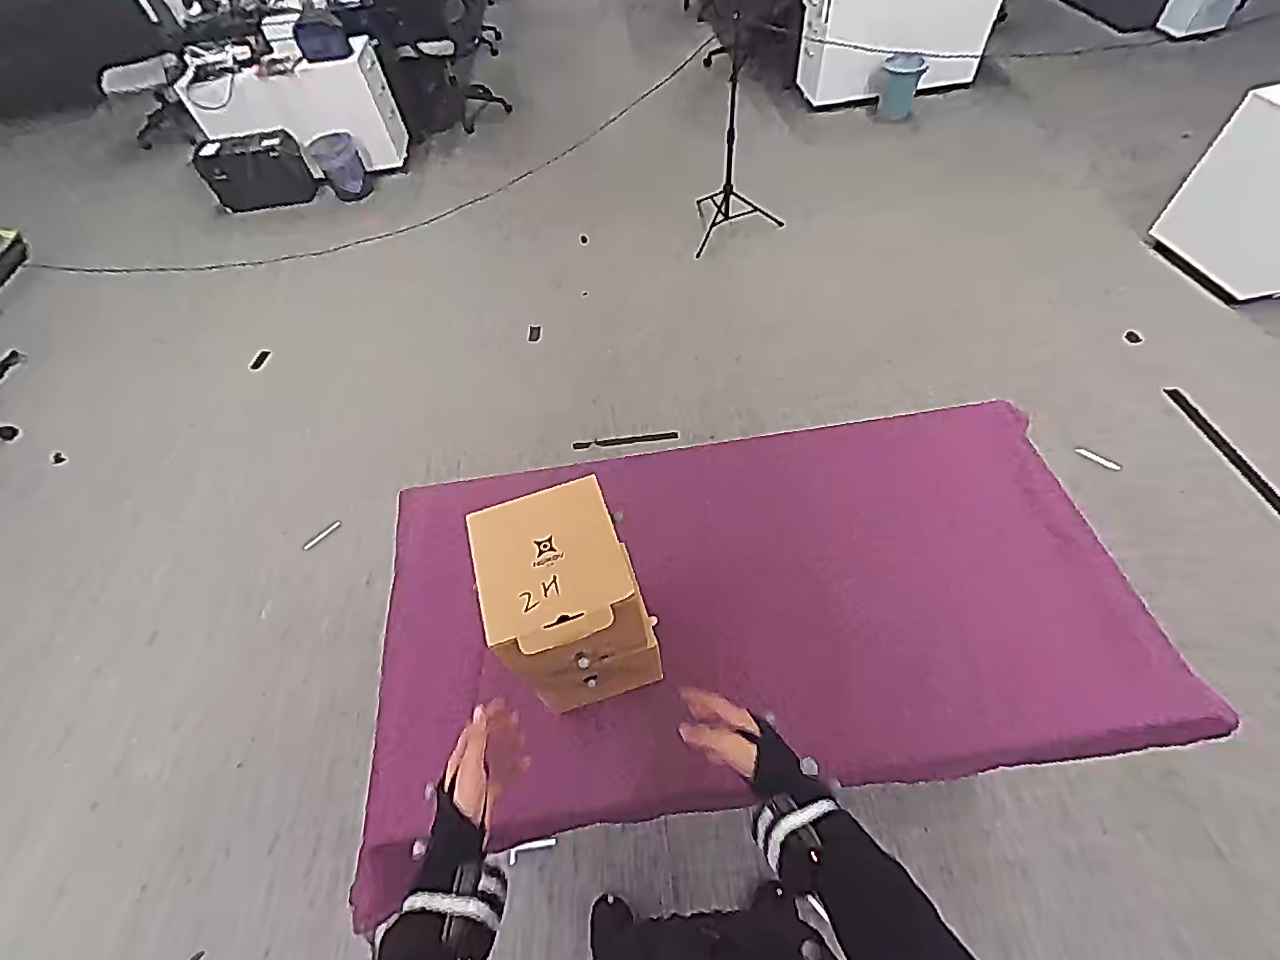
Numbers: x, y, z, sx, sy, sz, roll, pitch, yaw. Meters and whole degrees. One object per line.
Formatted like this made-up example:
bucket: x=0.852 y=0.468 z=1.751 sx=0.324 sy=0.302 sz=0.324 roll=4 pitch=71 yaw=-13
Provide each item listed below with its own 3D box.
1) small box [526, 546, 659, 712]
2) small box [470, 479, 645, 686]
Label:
small box: x=-0.077 y=0.229 z=0.813 sx=0.179 sy=0.176 sz=0.168 roll=-16 pitch=56 yaw=-6
small box: x=-0.099 y=0.132 z=0.681 sx=0.168 sy=0.176 sz=0.179 roll=-18 pitch=55 yaw=-6
